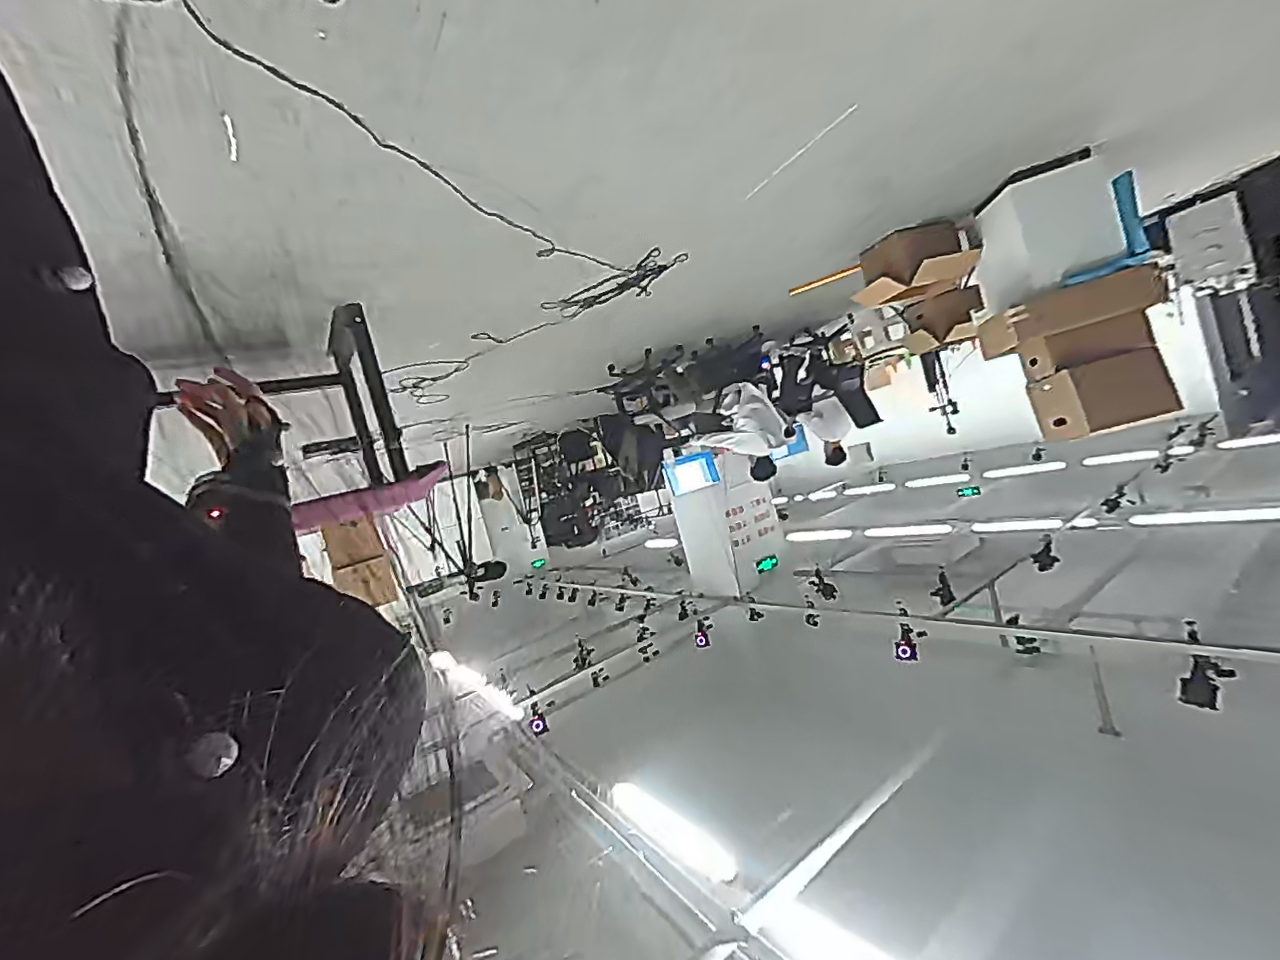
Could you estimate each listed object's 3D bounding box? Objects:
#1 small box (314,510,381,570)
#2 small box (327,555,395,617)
[{"bbox_3d":[-1.036,0.210,1.908,0.168,0.176,0.179,-18,-178,-33],"label":"small box"},{"bbox_3d":[-0.985,0.366,1.903,0.168,0.176,0.179,-17,-178,-34],"label":"small box"}]
